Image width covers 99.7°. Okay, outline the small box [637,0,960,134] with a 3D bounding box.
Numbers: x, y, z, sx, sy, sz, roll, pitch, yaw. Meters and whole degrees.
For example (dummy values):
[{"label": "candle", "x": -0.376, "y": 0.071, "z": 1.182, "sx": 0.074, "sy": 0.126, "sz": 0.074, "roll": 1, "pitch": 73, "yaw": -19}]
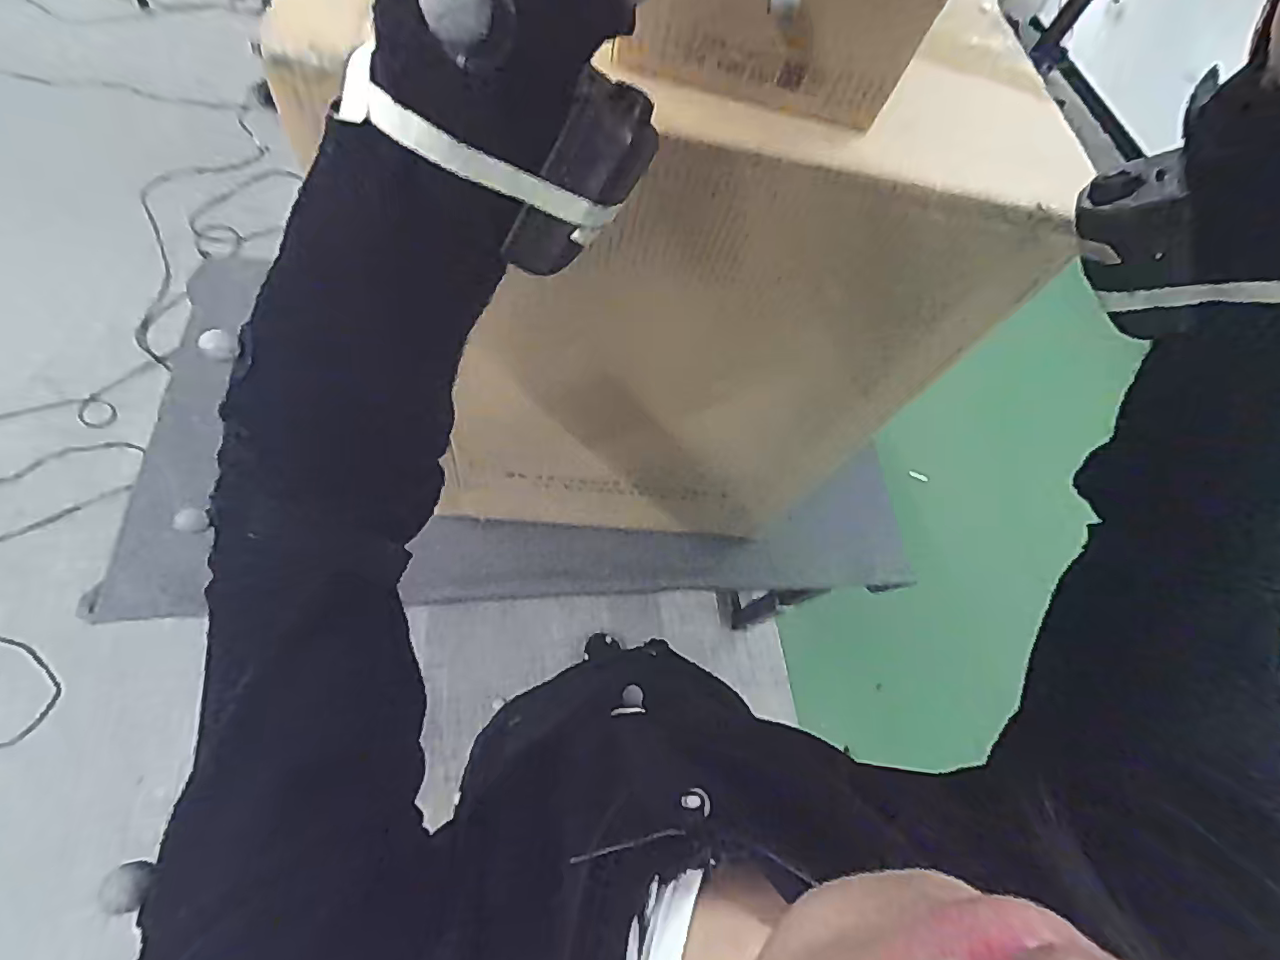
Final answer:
[{"label": "small box", "x": 0.097, "y": -0.341, "z": 0.300, "sx": 0.168, "sy": 0.176, "sz": 0.179, "roll": 8, "pitch": 65, "yaw": -8}]
